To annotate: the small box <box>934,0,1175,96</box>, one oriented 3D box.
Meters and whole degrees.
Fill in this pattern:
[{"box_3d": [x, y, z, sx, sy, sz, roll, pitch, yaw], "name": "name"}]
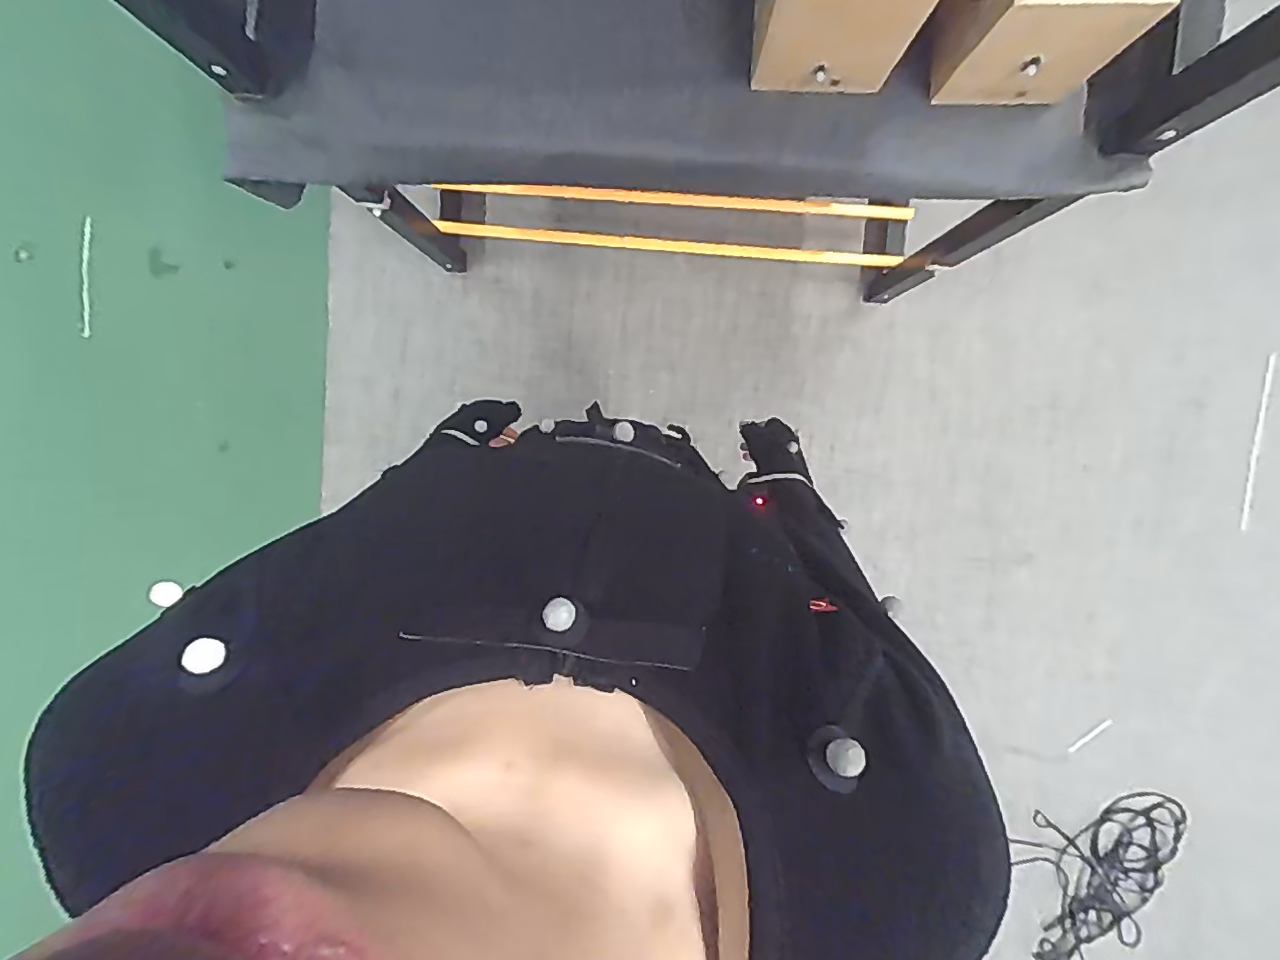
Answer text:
[{"box_3d": [0.456, -0.569, 0.609, 0.168, 0.176, 0.179, 0, 95, 1], "name": "small box"}]
